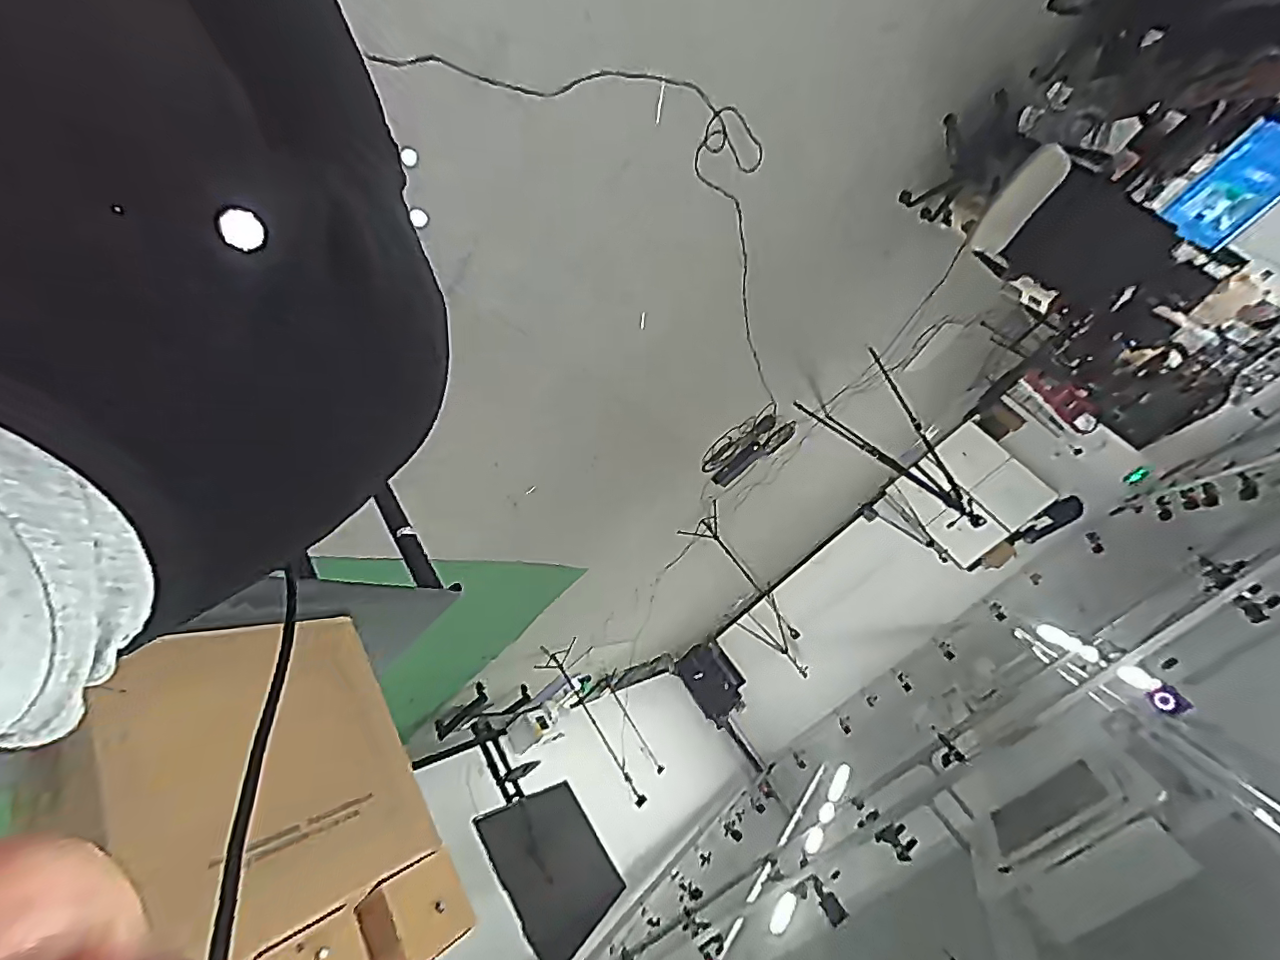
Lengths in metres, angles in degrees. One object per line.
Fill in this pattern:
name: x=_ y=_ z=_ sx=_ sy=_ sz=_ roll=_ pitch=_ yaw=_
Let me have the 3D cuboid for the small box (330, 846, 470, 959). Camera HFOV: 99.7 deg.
small box: x=-0.502 y=0.919 z=1.134 sx=0.168 sy=0.176 sz=0.179 roll=-45 pitch=156 yaw=8
